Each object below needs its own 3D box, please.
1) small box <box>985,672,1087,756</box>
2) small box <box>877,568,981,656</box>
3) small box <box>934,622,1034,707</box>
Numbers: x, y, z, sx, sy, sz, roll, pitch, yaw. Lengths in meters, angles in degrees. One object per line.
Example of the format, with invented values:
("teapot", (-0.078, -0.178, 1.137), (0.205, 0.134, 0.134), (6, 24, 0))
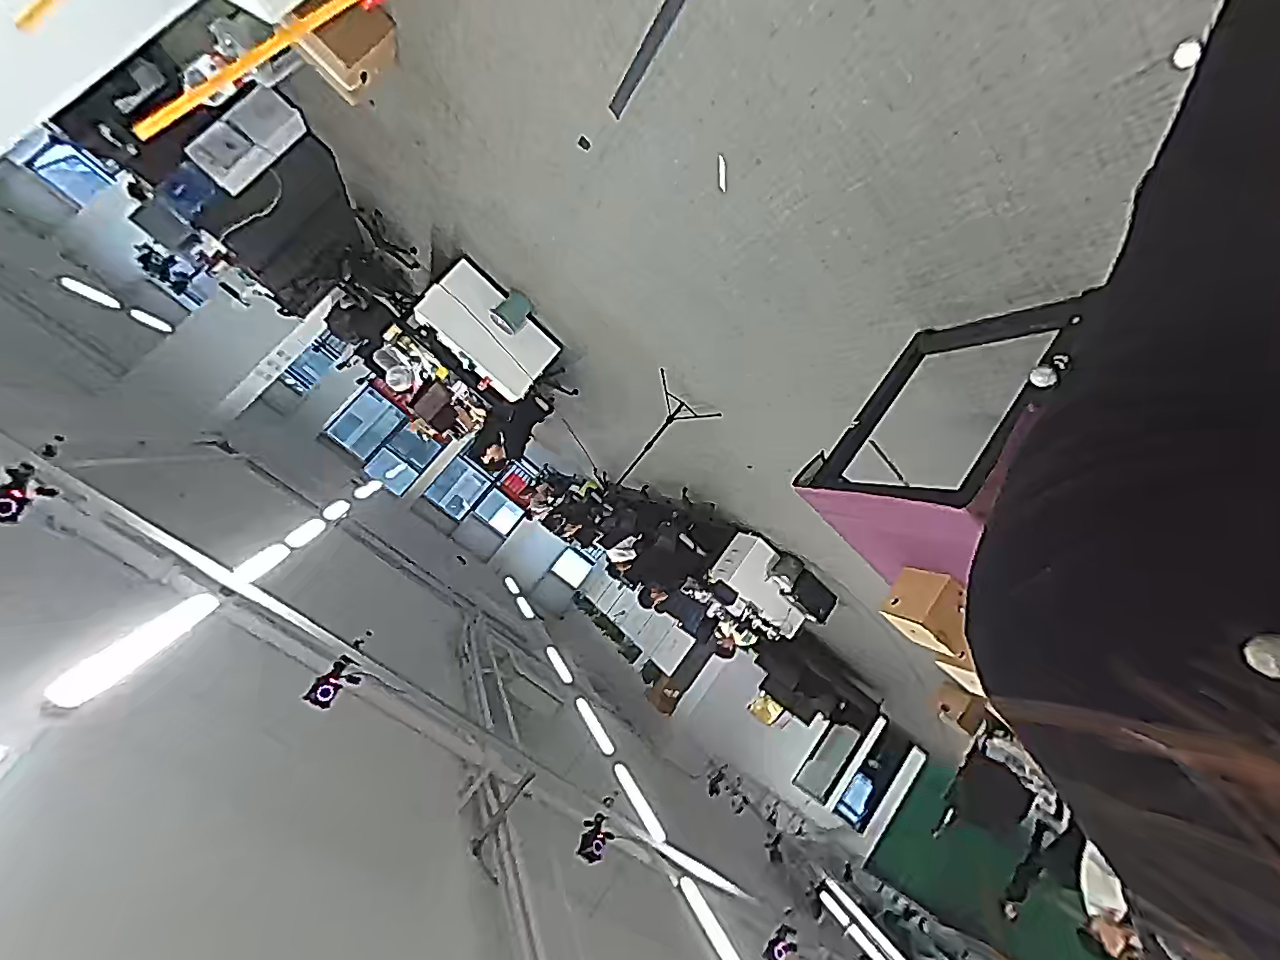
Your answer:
("small box", (1.242, 0.711, 1.688), (0.168, 0.176, 0.179), (40, 170, -7))
("small box", (0.854, 0.381, 1.599), (0.168, 0.176, 0.179), (41, 168, -13))
("small box", (1.054, 0.549, 1.648), (0.168, 0.176, 0.179), (40, 169, -5))
